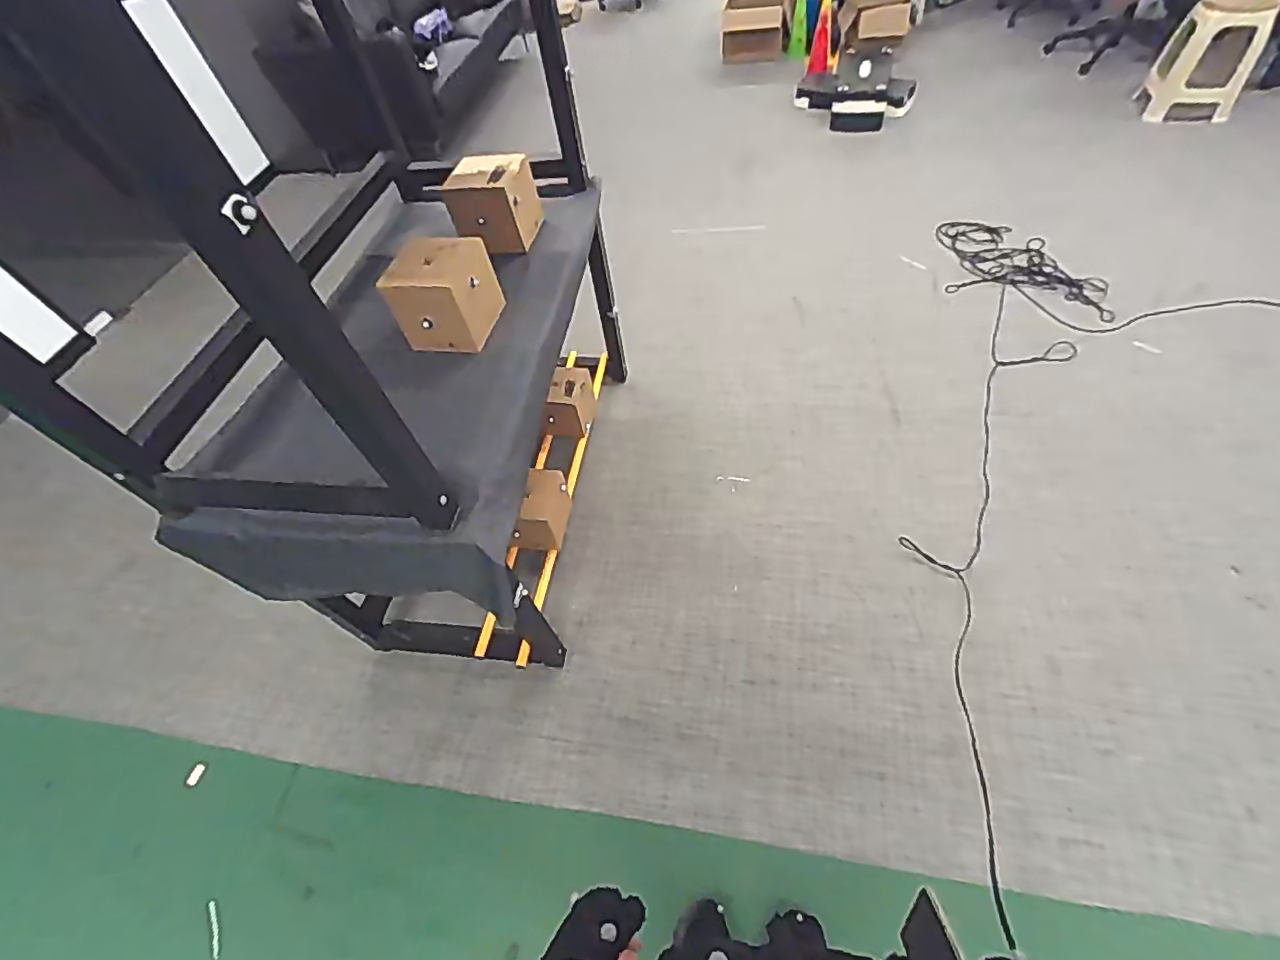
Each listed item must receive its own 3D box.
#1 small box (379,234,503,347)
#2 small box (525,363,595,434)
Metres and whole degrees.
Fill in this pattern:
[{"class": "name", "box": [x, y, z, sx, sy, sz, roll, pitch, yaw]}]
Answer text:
[{"class": "small box", "box": [-0.415, -0.406, 1.166, 0.168, 0.176, 0.179, 6, 55, 12]}, {"class": "small box", "box": [-0.261, -0.271, 1.822, 0.179, 0.176, 0.168, 6, 55, 12]}]
